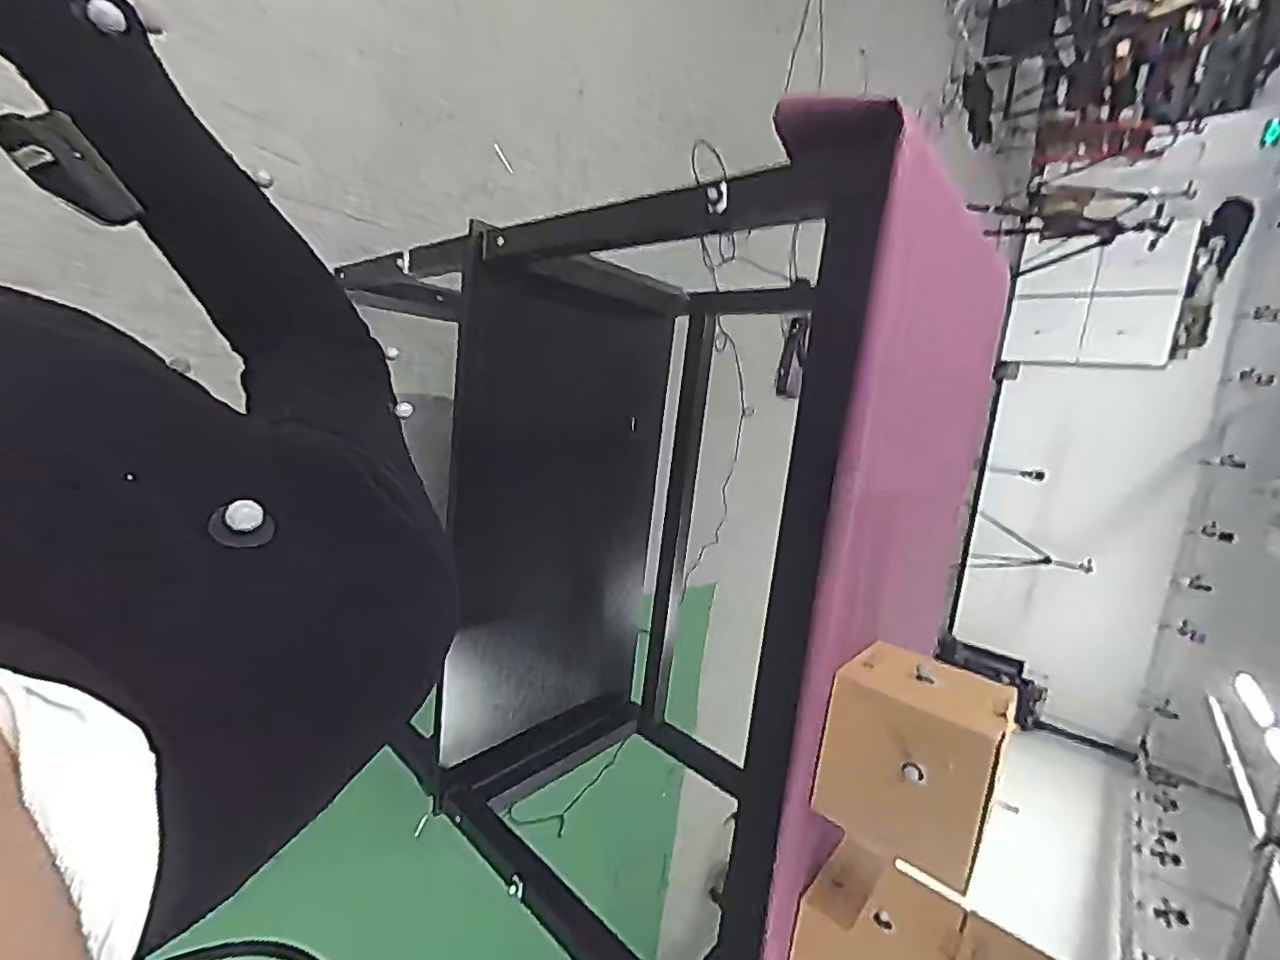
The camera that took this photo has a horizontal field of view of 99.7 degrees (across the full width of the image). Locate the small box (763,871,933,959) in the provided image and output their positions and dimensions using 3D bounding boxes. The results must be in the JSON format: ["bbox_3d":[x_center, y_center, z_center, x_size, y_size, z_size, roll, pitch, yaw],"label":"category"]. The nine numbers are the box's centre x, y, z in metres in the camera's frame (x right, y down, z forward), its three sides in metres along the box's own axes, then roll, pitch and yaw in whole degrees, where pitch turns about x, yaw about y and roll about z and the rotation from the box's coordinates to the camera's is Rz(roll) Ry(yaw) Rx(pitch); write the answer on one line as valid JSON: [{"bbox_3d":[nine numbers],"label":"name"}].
[{"bbox_3d":[0.257,0.654,0.698,0.168,0.176,0.179,4,97,-52],"label":"small box"}]

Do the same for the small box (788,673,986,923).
[{"bbox_3d":[0.293,0.351,0.647,0.168,0.176,0.179,2,99,-51],"label":"small box"}]
